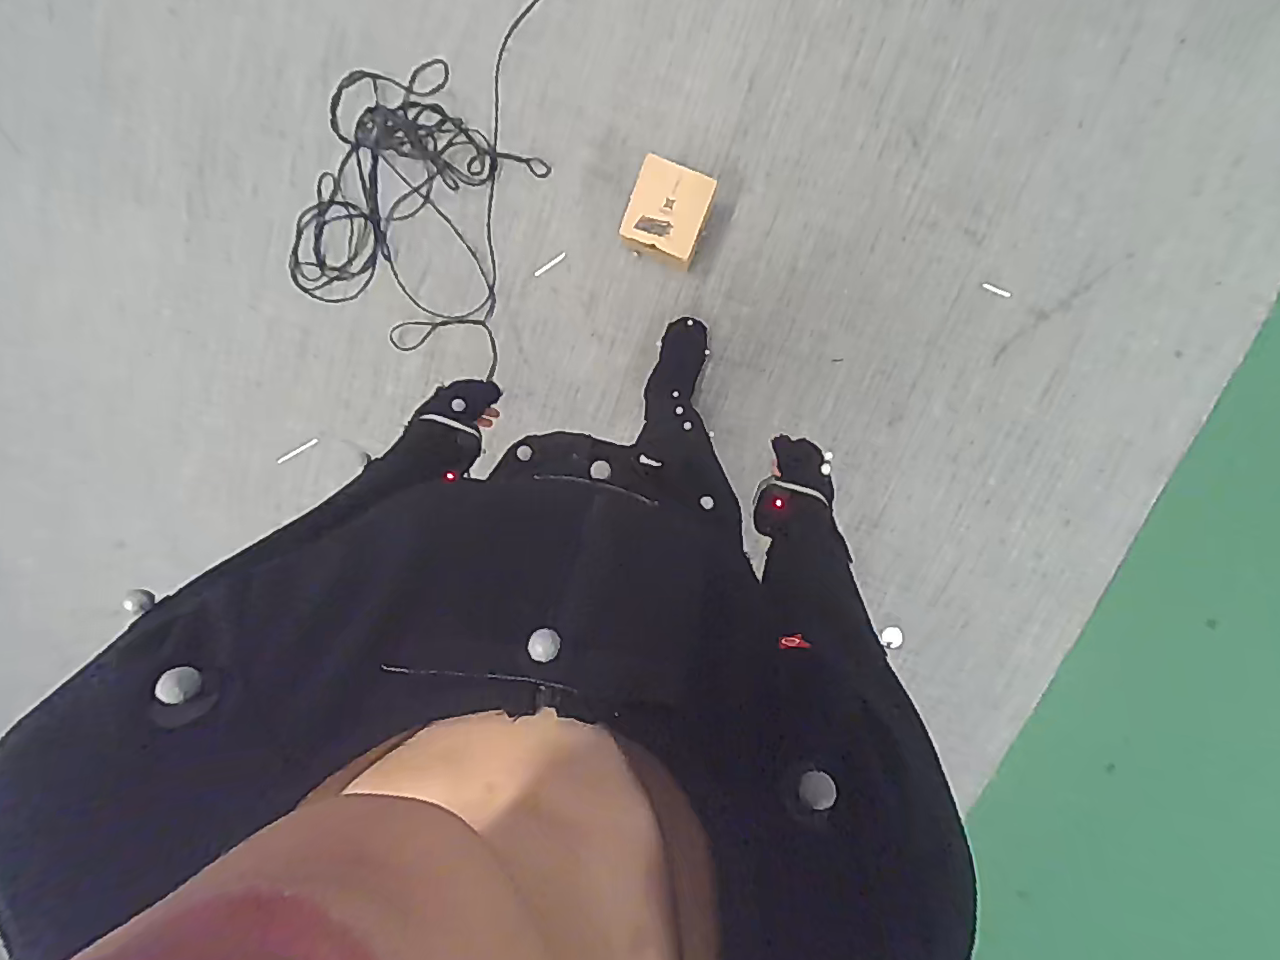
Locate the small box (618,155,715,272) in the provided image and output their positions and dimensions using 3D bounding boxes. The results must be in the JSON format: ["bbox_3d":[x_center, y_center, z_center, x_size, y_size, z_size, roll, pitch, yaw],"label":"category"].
[{"bbox_3d":[0.063,-0.603,1.251,0.168,0.176,0.179,22,103,-1],"label":"small box"}]
